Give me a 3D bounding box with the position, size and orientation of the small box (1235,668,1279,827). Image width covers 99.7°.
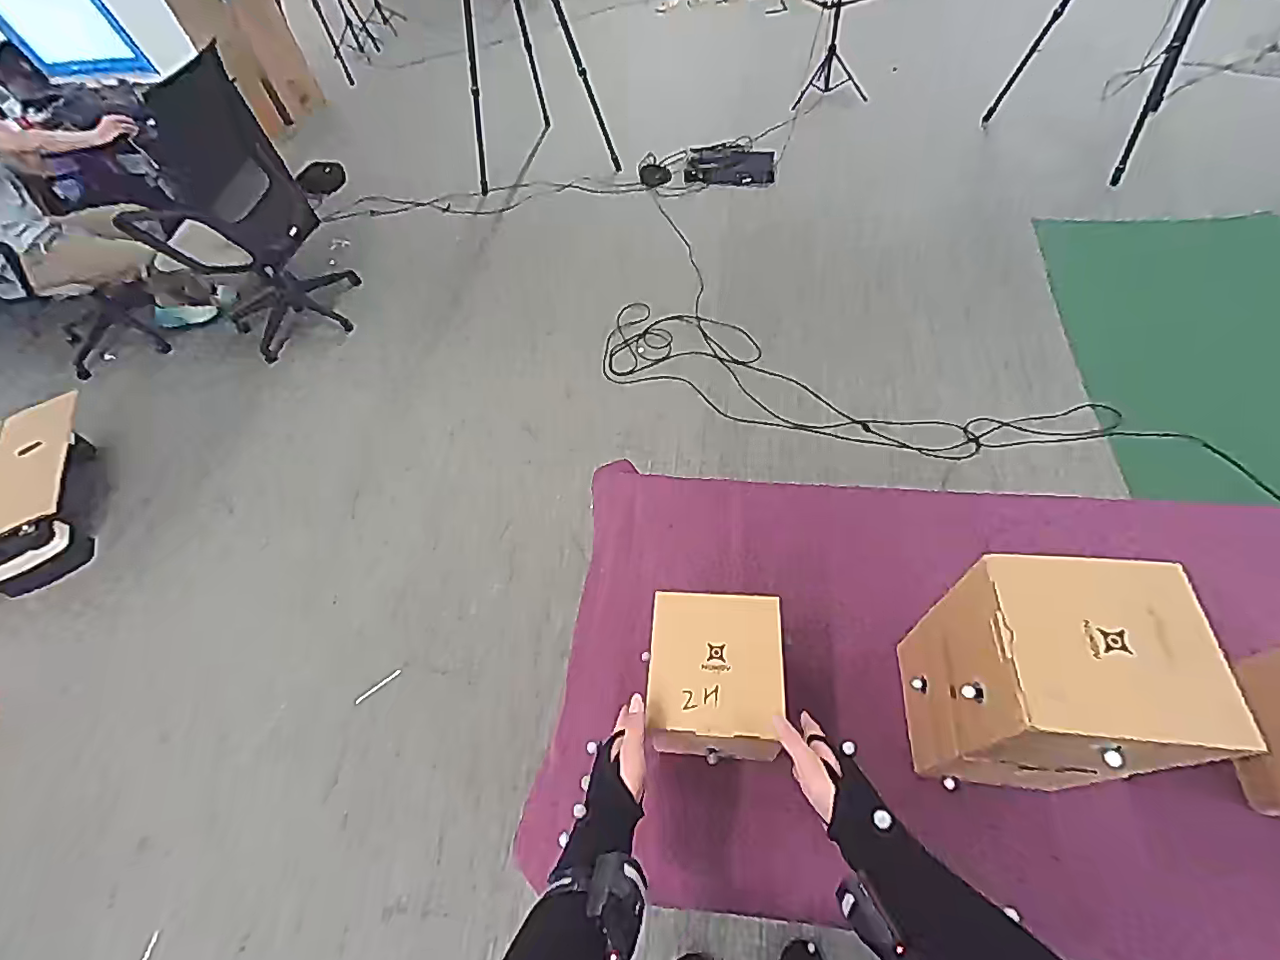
[{"bbox_3d":[0.833,0.307,0.613,0.179,0.176,0.168,3,55,10],"label":"small box"}]

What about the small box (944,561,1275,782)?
[{"bbox_3d":[0.430,0.196,0.544,0.179,0.176,0.168,3,56,8],"label":"small box"}]

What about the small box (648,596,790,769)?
[{"bbox_3d":[0.106,0.274,0.730,0.168,0.176,0.179,1,56,9],"label":"small box"}]

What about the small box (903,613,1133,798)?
[{"bbox_3d":[0.449,0.286,0.679,0.168,0.176,0.179,2,55,9],"label":"small box"}]
